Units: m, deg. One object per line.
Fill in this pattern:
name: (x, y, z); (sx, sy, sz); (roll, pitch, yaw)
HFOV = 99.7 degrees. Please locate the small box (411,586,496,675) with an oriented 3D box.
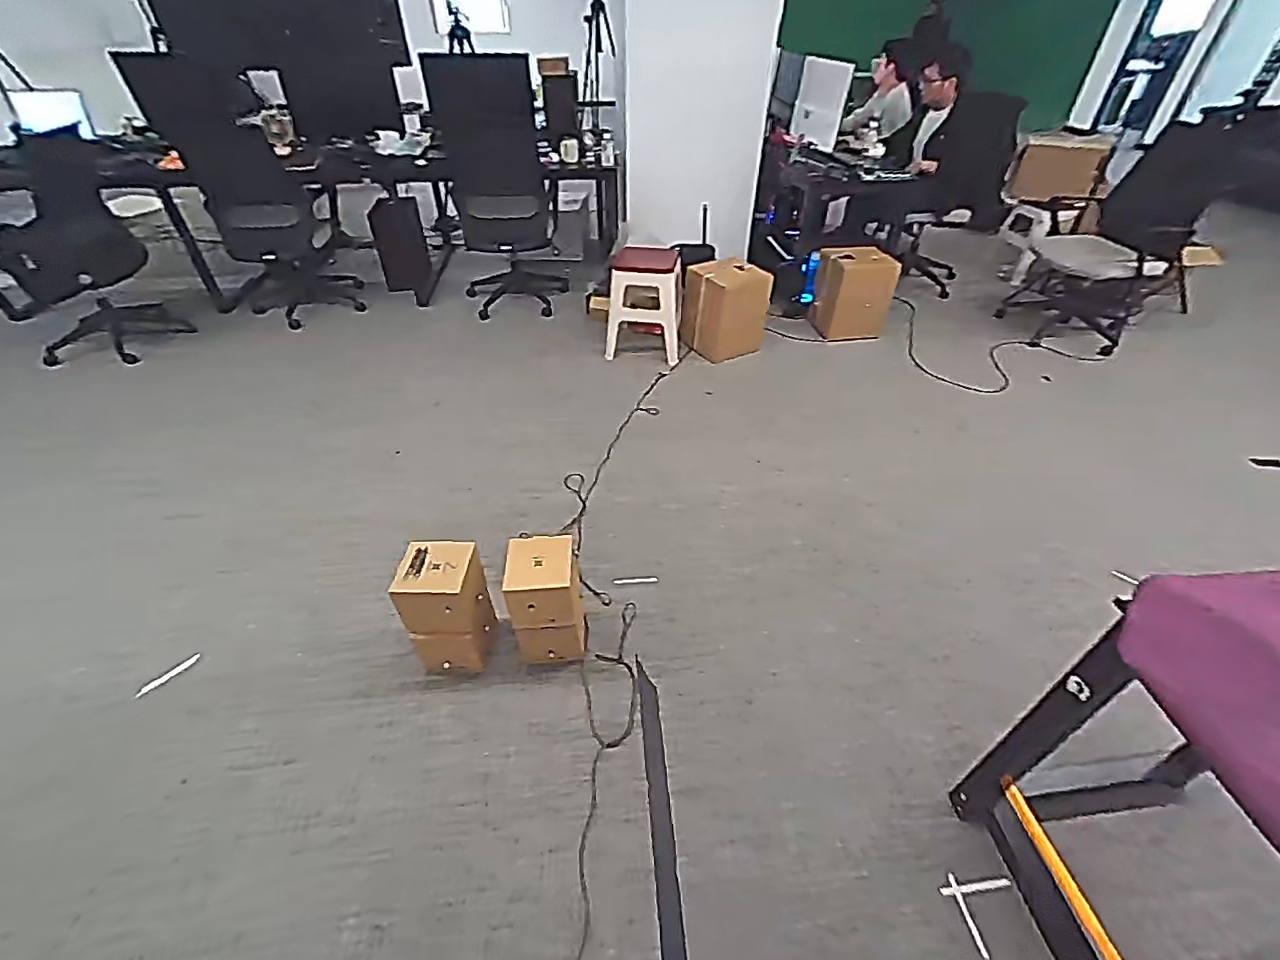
small box: (-0.506, 0.417, 1.499); (0.168, 0.176, 0.179); (0, 41, 1)

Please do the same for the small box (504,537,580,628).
small box: (-0.248, 0.273, 1.414); (0.168, 0.176, 0.179); (-4, 40, -2)

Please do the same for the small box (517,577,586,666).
small box: (-0.242, 0.397, 1.519); (0.168, 0.176, 0.179); (-4, 41, -2)
